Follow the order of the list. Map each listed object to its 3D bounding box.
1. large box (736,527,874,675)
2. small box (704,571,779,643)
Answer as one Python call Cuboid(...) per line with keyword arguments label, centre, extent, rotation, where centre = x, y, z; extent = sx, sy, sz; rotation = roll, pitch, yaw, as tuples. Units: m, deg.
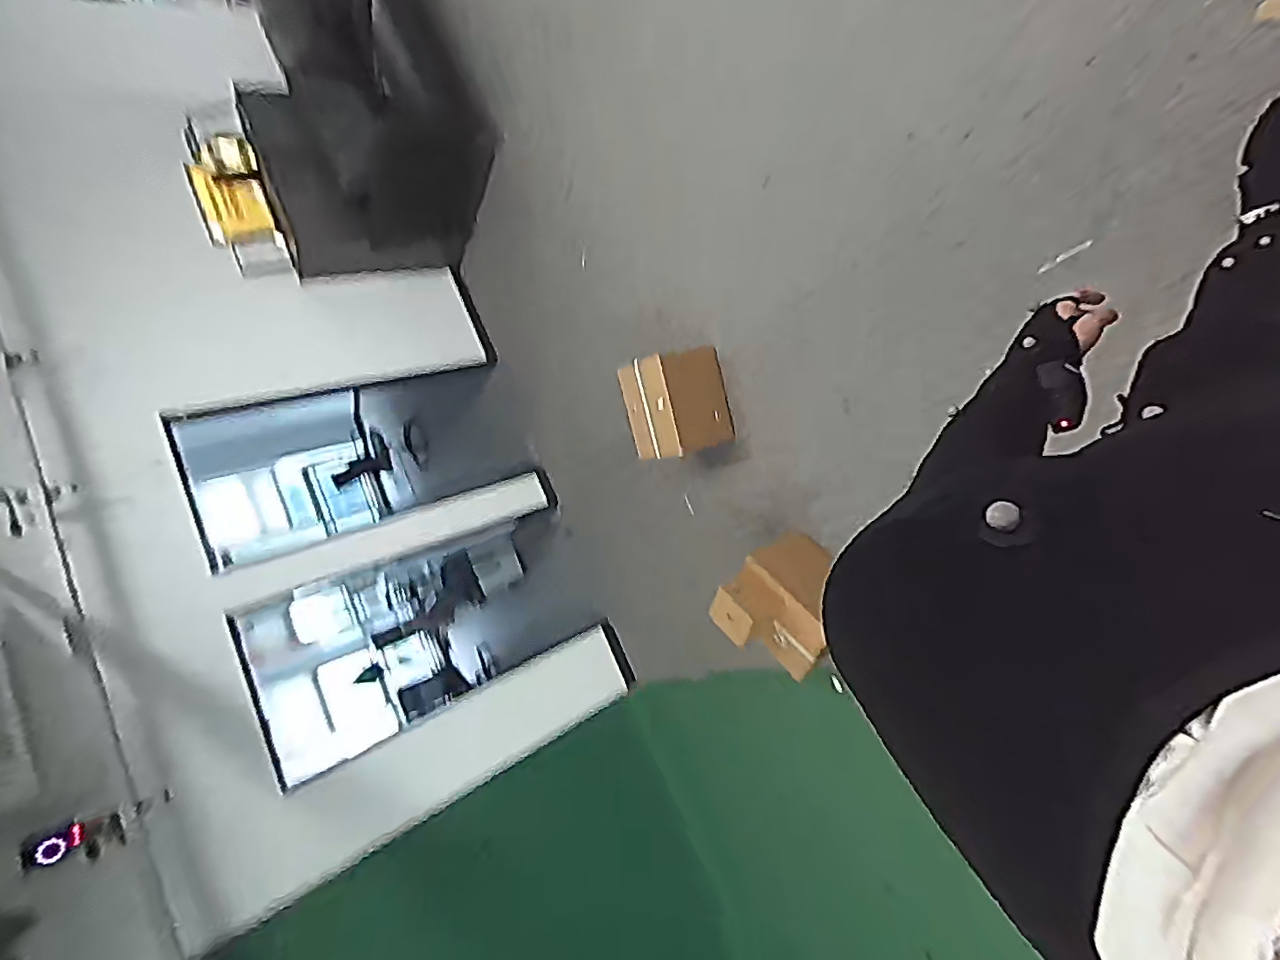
Cuboid(label="large box", centre=(0.602, 0.453, 2.095), extent=(0.408, 0.320, 0.320), rotation=(44, 139, 33))
Cuboid(label="small box", centre=(0.370, 0.455, 1.978), extent=(0.179, 0.176, 0.168), rotation=(44, 138, 33))
